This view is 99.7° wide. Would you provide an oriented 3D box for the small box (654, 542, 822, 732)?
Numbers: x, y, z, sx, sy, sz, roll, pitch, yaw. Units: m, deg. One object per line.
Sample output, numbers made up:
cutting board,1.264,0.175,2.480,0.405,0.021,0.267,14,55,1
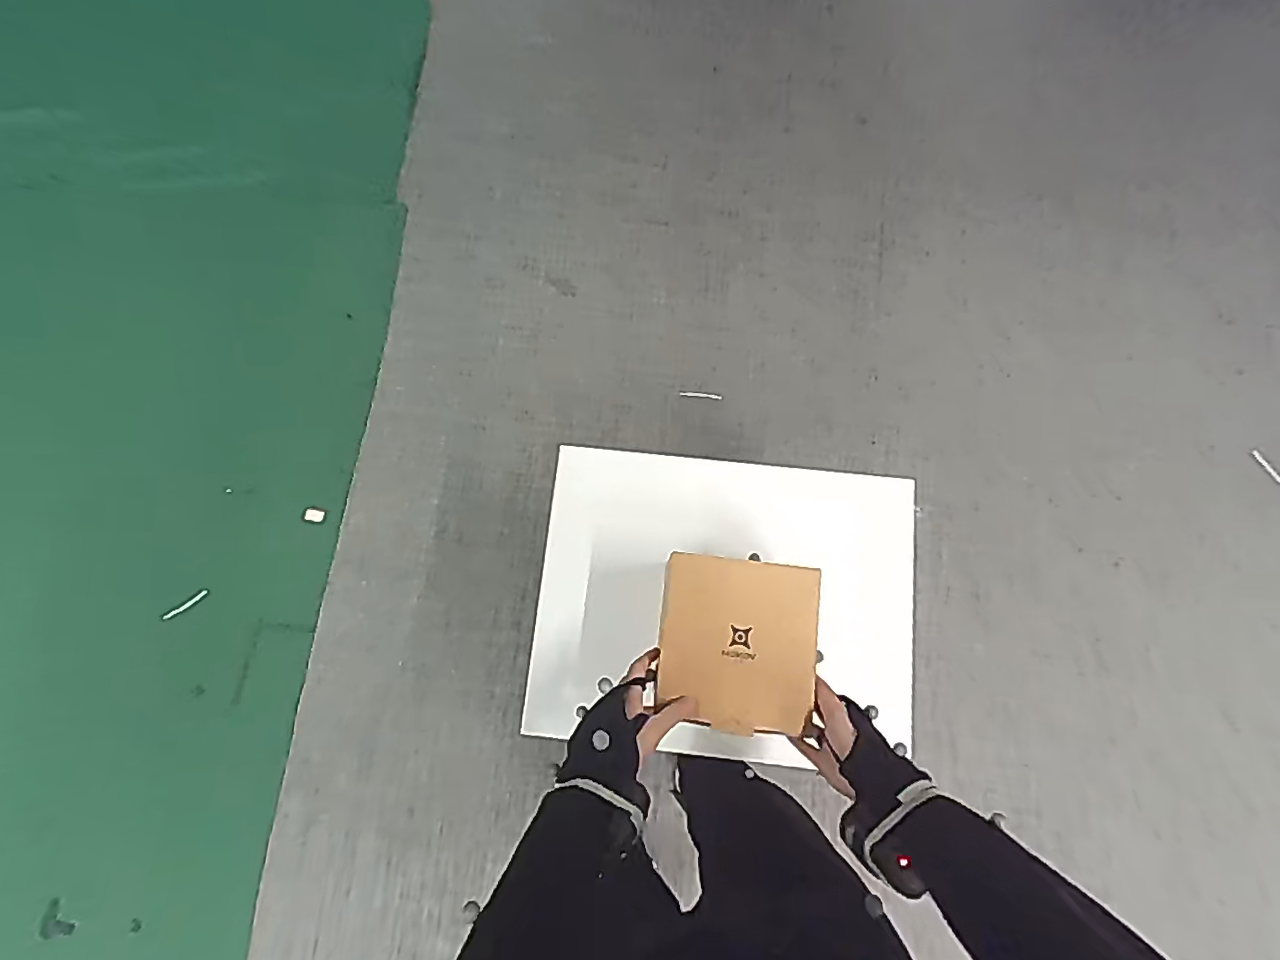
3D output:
small box,0.106,0.178,0.642,0.168,0.176,0.179,7,78,3
